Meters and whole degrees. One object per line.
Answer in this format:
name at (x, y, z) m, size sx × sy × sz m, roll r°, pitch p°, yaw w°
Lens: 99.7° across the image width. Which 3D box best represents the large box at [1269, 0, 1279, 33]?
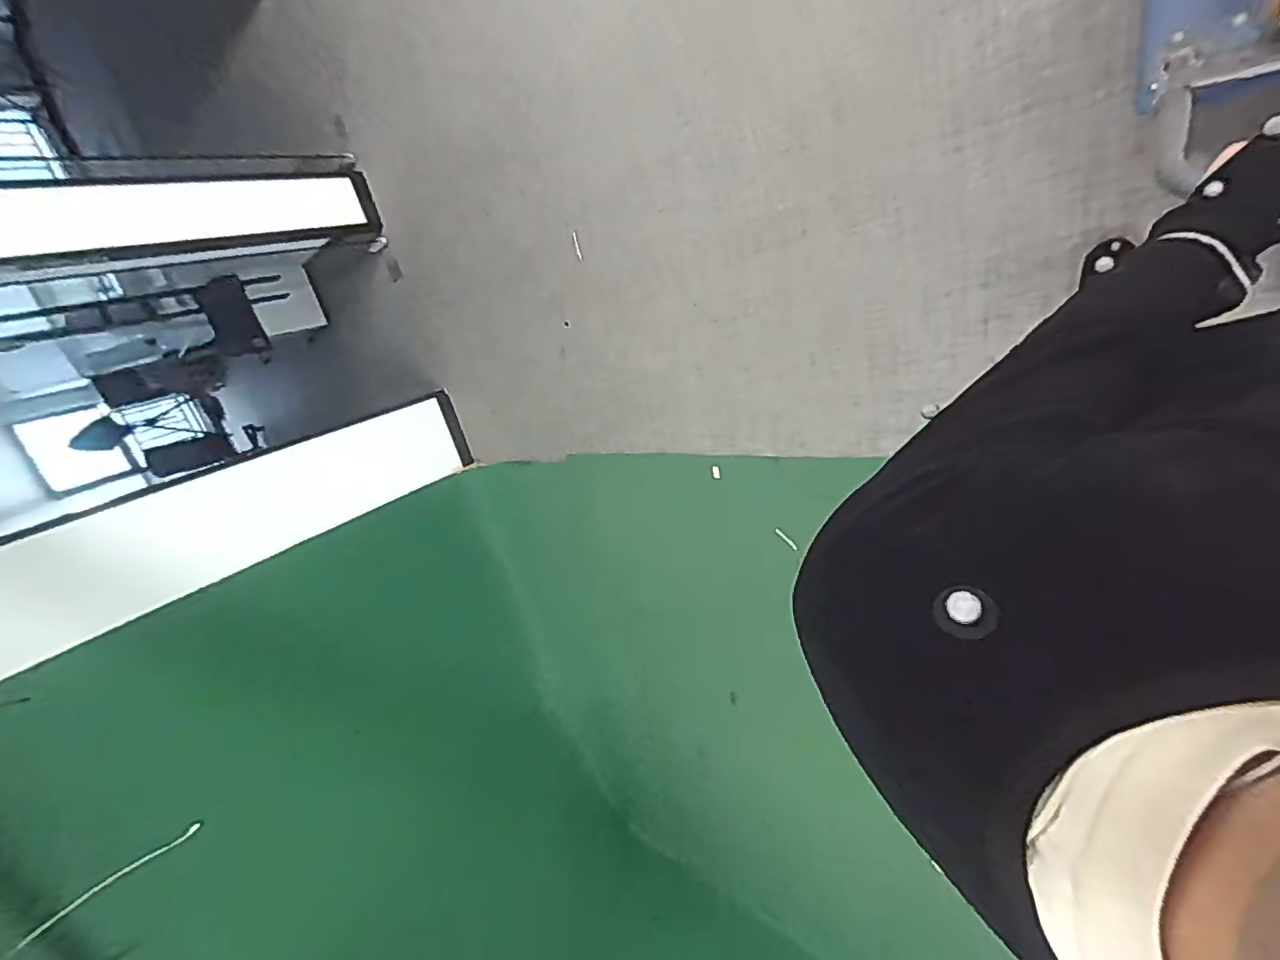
large box at (0.929, -0.772, 0.560) m, size 0.320 × 0.320 × 0.408 m, roll 8°, pitch 125°, yaw 41°
